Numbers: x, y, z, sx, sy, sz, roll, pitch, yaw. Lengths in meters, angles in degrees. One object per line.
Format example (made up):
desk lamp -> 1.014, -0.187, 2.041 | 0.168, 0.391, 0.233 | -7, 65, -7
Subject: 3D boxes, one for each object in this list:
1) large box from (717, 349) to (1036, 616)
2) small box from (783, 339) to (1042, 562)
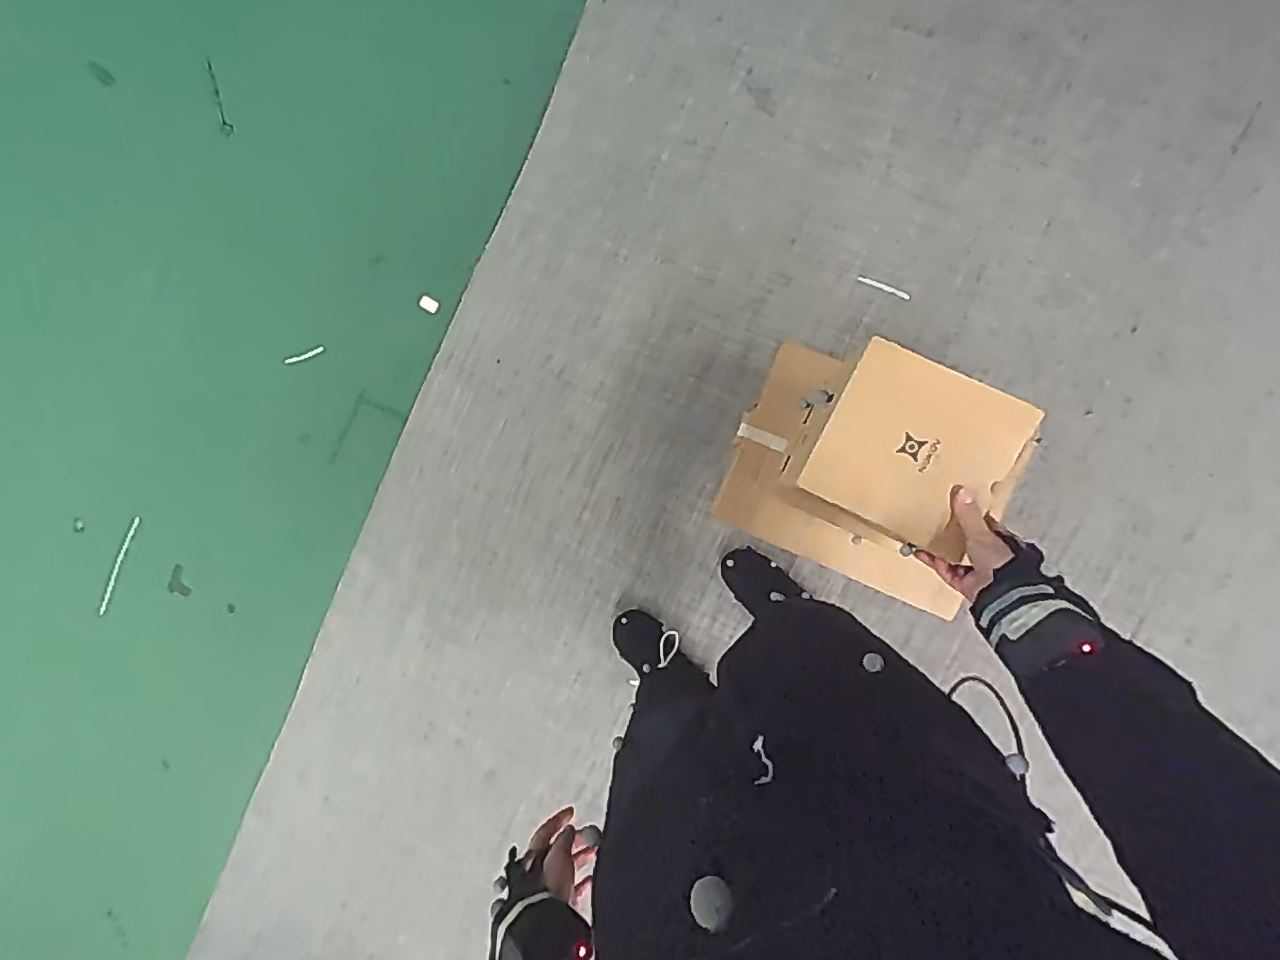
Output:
large box -> 0.384, -0.002, 0.997 | 0.408, 0.320, 0.320 | 23, 95, 10
small box -> 0.277, -0.029, 0.601 | 0.179, 0.176, 0.168 | 27, 94, 6
